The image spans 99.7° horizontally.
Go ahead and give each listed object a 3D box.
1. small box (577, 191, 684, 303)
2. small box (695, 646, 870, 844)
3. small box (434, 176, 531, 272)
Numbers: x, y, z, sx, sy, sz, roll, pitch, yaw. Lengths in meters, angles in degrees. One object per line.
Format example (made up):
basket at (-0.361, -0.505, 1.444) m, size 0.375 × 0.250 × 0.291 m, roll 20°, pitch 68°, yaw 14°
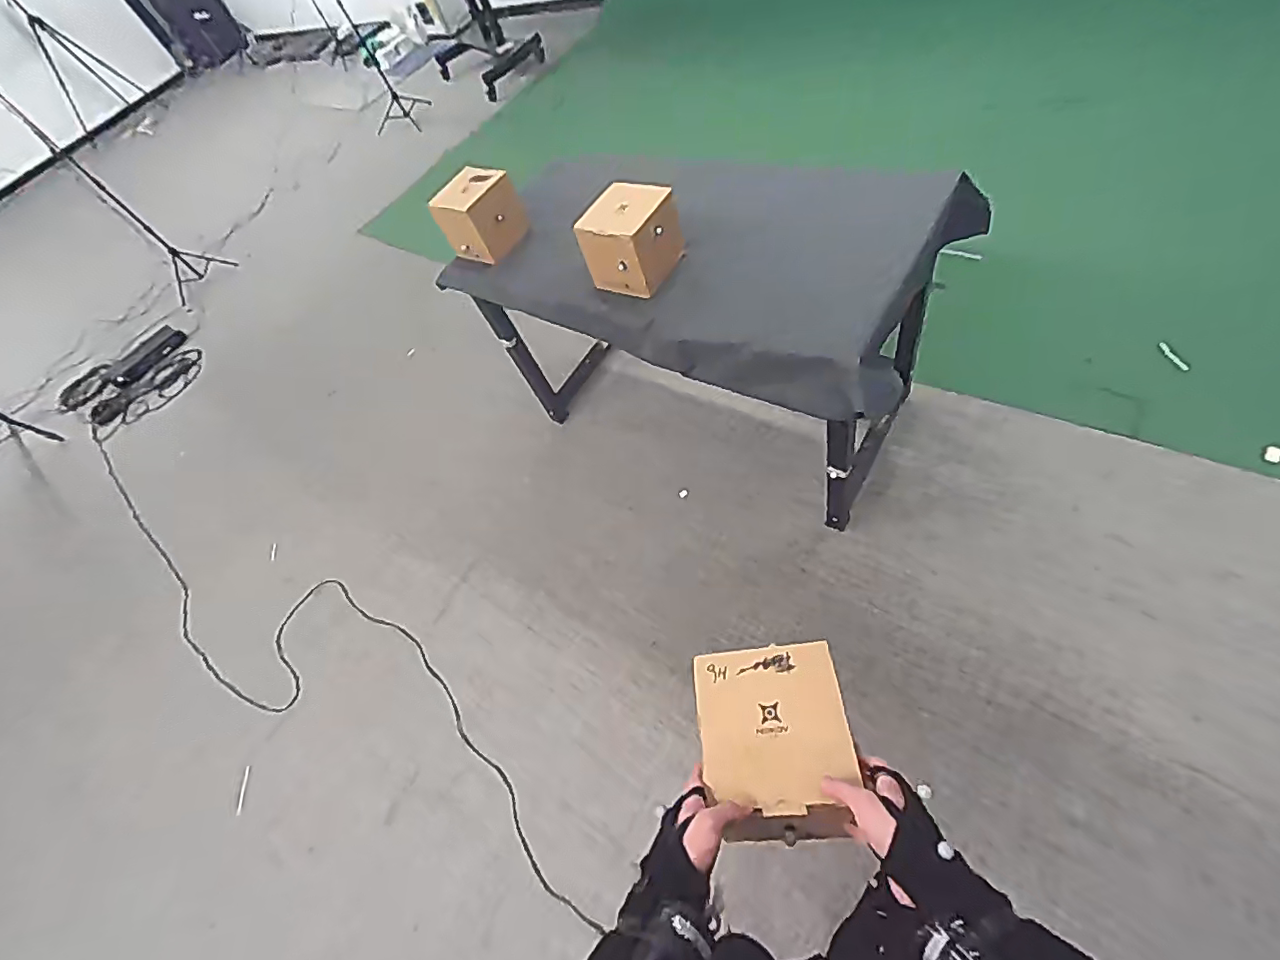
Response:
small box at (-0.012, -0.544, 1.266) m, size 0.168 × 0.176 × 0.179 m, roll 23°, pitch 65°, yaw 28°
small box at (0.165, 0.322, 0.645) m, size 0.168 × 0.176 × 0.179 m, roll -10°, pitch 47°, yaw 10°
small box at (-0.432, -0.720, 1.521) m, size 0.168 × 0.176 × 0.179 m, roll 23°, pitch 67°, yaw 29°
